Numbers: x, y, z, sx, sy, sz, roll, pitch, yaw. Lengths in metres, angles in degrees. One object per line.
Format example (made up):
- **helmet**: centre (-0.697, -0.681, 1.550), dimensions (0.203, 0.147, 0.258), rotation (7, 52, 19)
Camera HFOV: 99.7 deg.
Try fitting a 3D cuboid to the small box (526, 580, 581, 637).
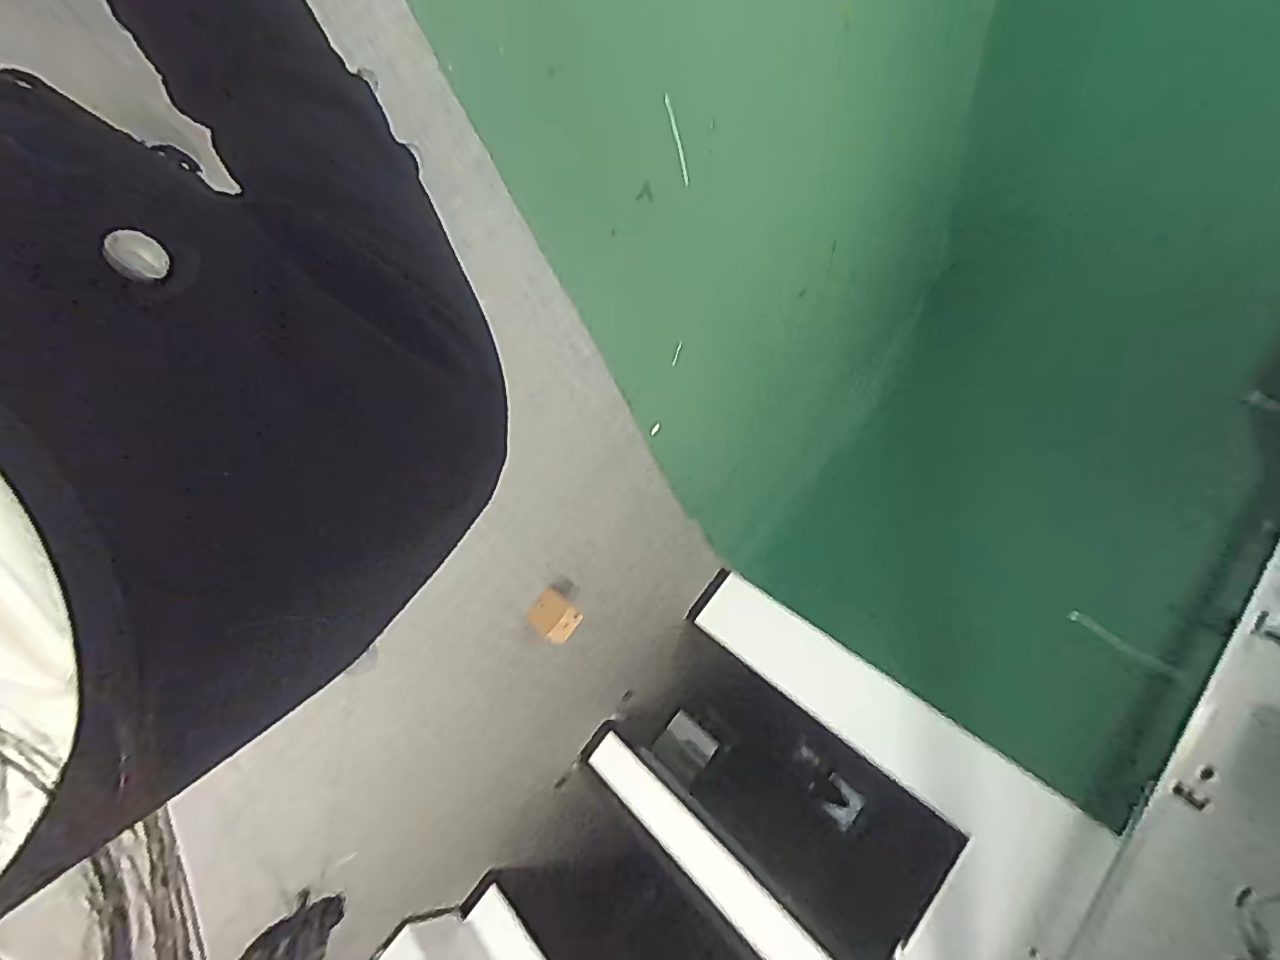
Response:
- **small box**: centre (-0.420, 0.609, 2.571), dimensions (0.179, 0.176, 0.168), rotation (-50, 148, -11)
